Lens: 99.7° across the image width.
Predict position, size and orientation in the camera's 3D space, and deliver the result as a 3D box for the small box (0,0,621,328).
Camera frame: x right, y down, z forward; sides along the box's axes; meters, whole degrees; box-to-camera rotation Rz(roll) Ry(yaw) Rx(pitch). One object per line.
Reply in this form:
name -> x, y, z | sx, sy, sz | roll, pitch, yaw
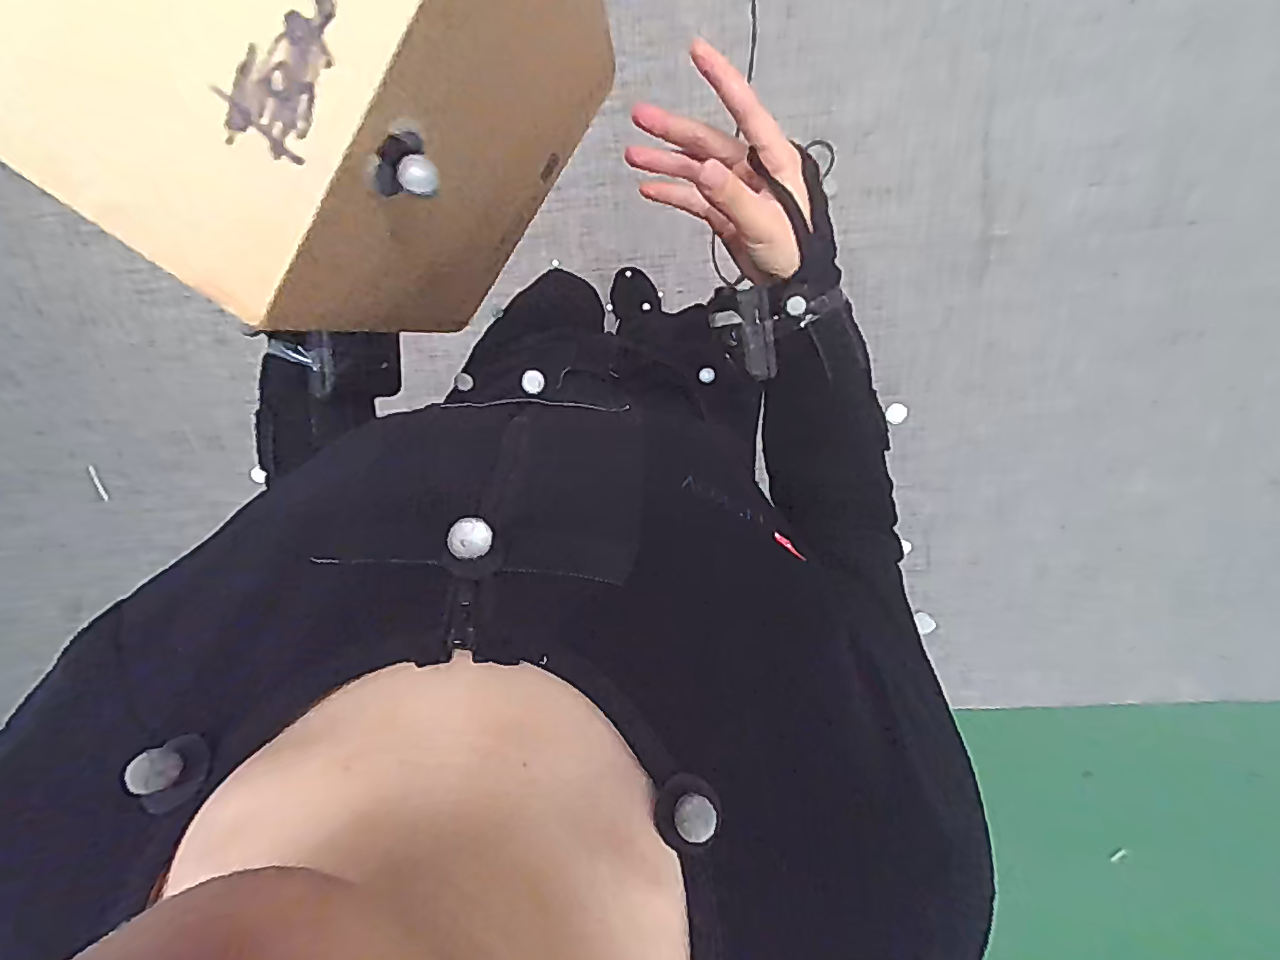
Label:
small box -> -0.126, -0.177, 0.226 | 0.179, 0.176, 0.168 | 35, 104, -5
